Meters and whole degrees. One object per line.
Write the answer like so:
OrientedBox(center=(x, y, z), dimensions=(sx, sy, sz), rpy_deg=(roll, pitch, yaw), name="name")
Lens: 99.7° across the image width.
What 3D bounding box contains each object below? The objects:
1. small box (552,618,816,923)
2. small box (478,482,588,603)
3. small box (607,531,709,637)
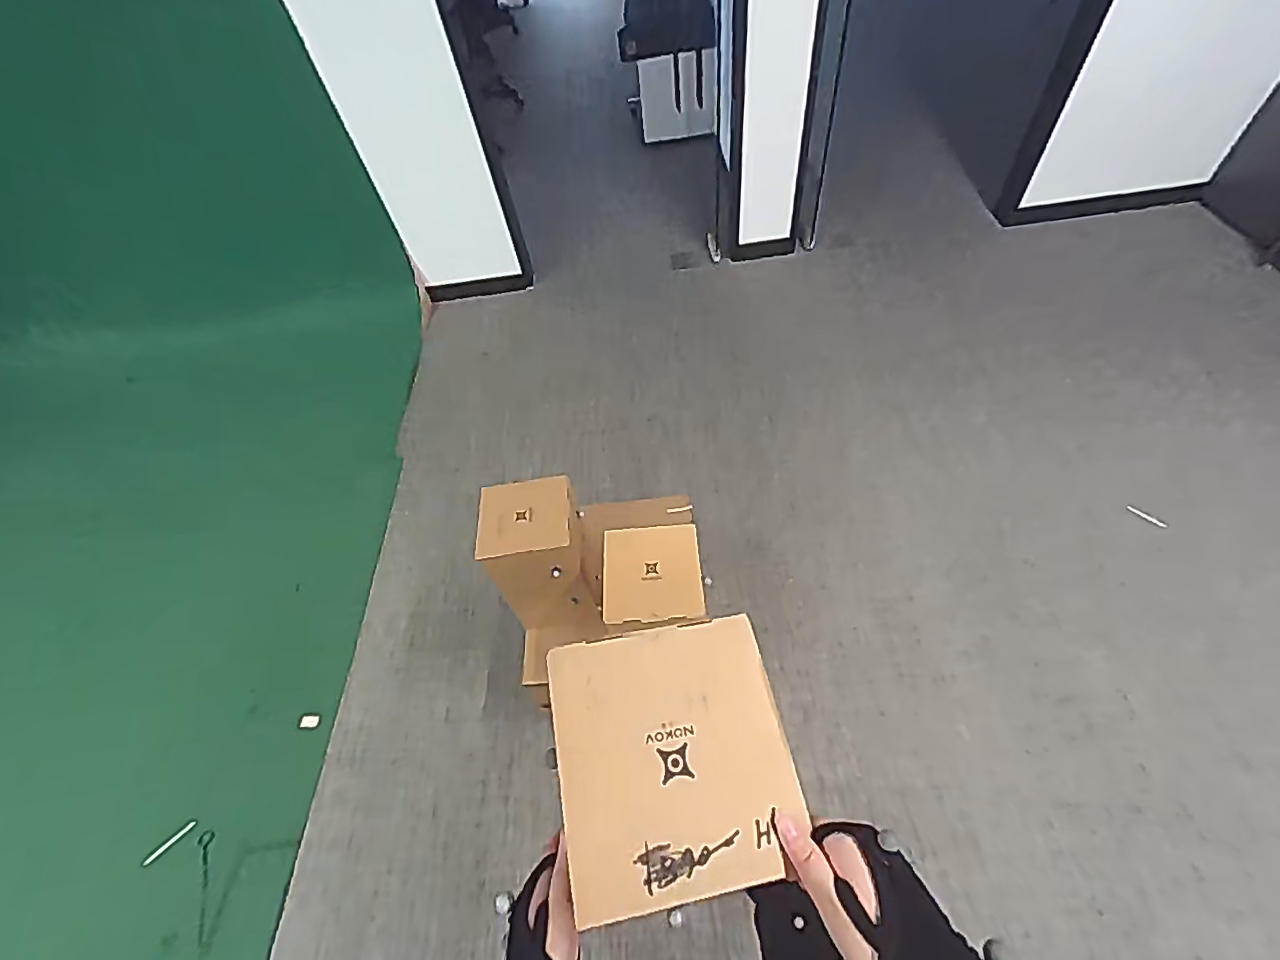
OrientedBox(center=(0.018, 0.237, 0.456), dimensions=(0.168, 0.176, 0.179), rpy_deg=(-7, 59, -8), name="small box")
OrientedBox(center=(-0.200, 0.127, 1.073), dimensions=(0.179, 0.176, 0.168), rpy_deg=(-9, 51, 3), name="small box")
OrientedBox(center=(0.033, 0.211, 0.972), dimensions=(0.168, 0.176, 0.179), rpy_deg=(-5, 54, 3), name="small box")
